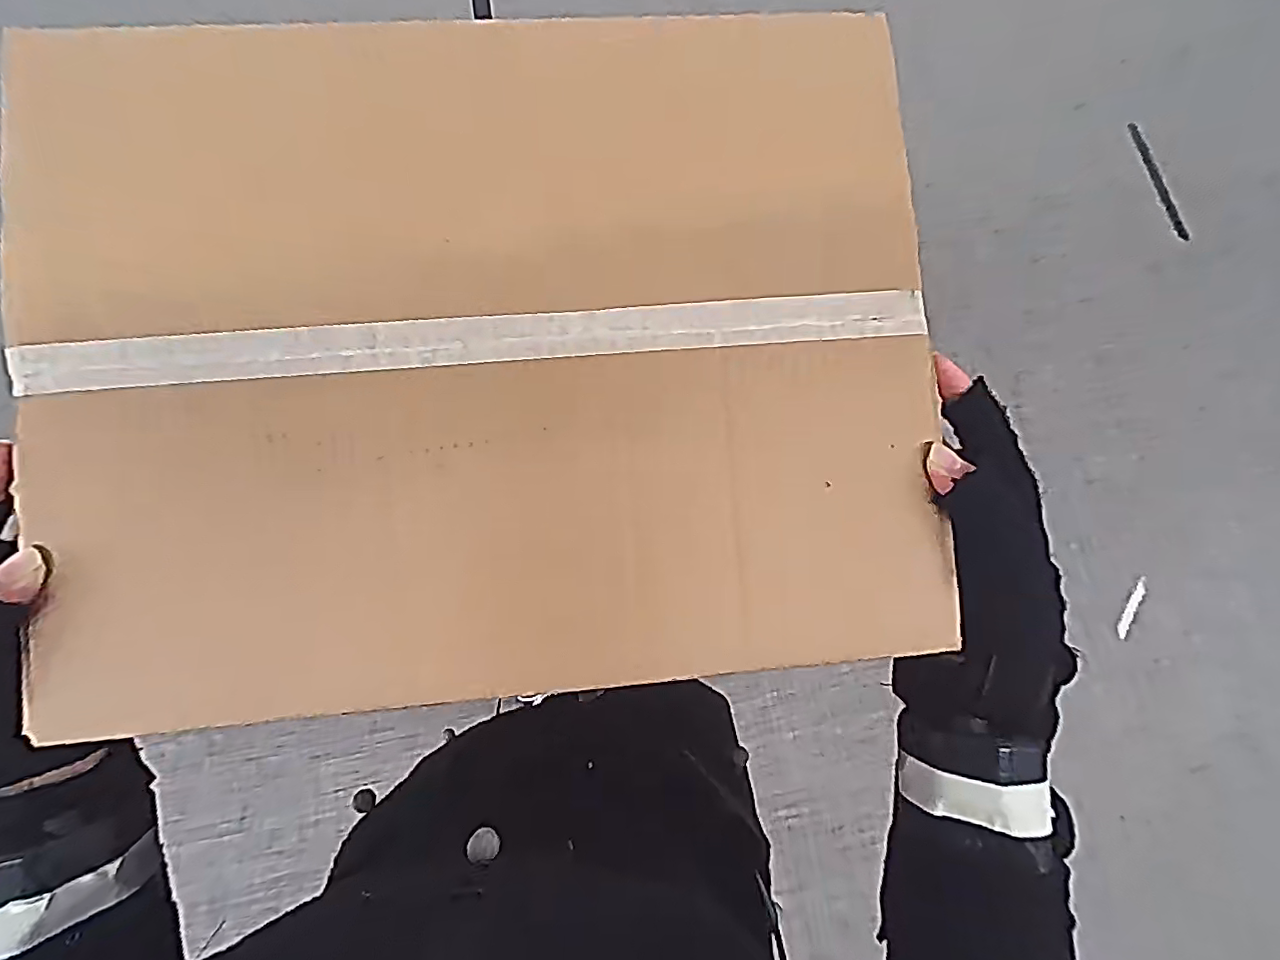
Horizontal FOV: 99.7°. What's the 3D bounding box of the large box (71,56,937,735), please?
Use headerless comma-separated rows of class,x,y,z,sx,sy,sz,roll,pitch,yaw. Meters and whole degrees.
large box,-0.073,-0.044,0.411,0.408,0.320,0.320,-5,87,-4
